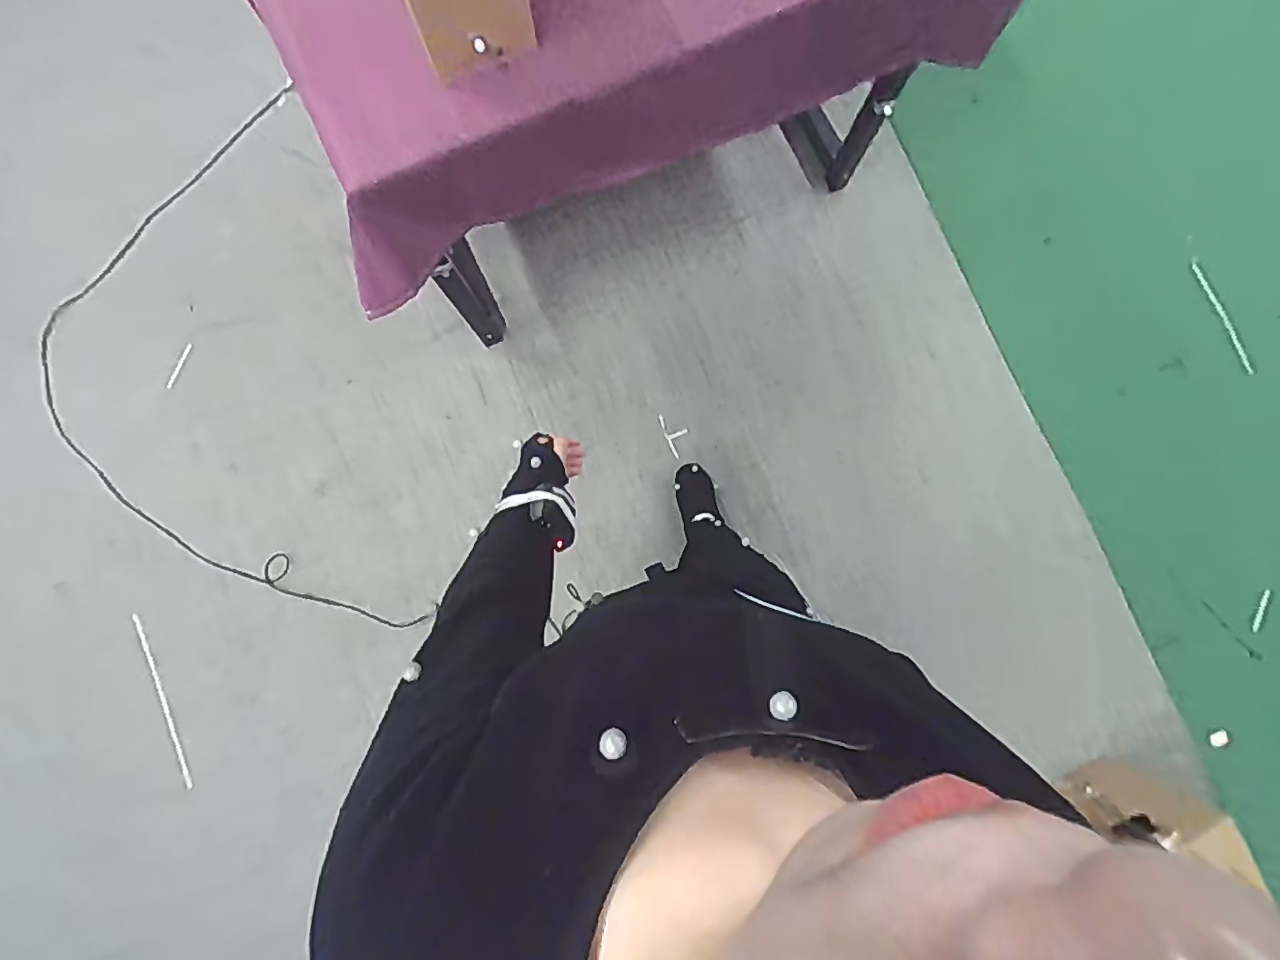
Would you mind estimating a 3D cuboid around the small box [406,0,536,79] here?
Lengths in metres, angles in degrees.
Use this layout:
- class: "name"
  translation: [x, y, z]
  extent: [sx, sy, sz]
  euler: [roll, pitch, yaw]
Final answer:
- class: "small box"
  translation: [-0.265, -0.737, 0.775]
  extent: [0.168, 0.176, 0.179]
  euler: [-22, 85, -3]

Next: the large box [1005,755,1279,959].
- class: "large box"
  translation: [1.183, 0.959, 1.282]
  extent: [0.320, 0.320, 0.408]
  euler: [-23, 86, -4]
